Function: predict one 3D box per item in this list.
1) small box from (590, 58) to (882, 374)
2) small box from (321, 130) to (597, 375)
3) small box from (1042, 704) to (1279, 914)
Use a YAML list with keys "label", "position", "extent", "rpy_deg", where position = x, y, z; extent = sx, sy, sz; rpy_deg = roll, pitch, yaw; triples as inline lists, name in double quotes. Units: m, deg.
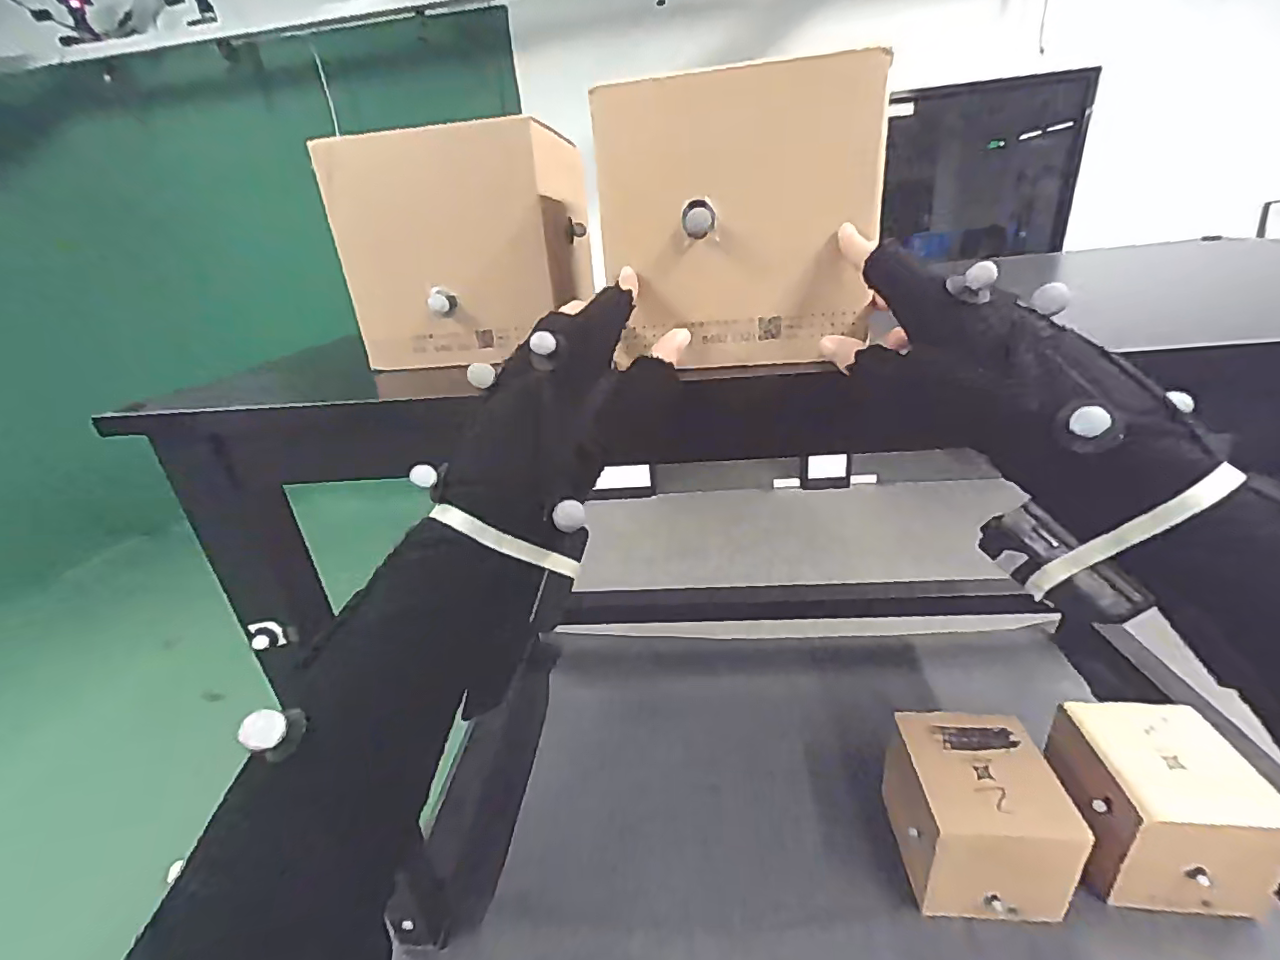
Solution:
- label: "small box"
  position: [0.070, -0.178, 0.405]
  extent: [0.168, 0.176, 0.179]
  rpy_deg: [-2, 24, 9]
- label: "small box"
  position: [-0.137, -0.197, 0.487]
  extent: [0.168, 0.176, 0.179]
  rpy_deg: [-2, 25, 7]
- label: "small box"
  position: [0.672, 0.424, 0.708]
  extent: [0.168, 0.176, 0.179]
  rpy_deg: [-2, 24, 9]
